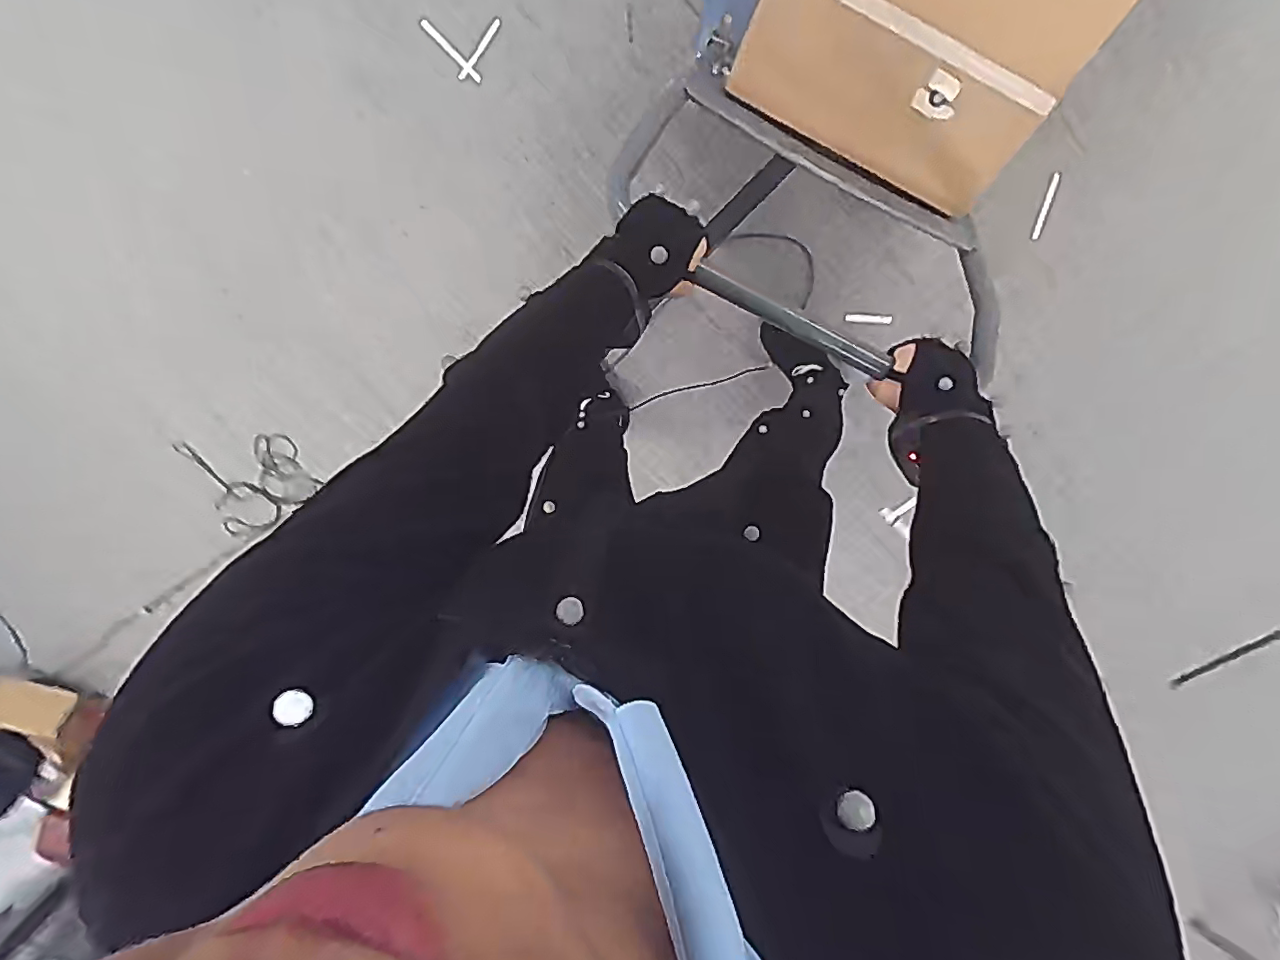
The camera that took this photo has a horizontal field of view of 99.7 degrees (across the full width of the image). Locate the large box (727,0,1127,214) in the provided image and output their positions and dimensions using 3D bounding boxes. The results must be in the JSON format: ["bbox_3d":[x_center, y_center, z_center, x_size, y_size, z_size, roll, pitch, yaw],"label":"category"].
[{"bbox_3d":[0.389,-0.679,0.810,0.408,0.320,0.320,25,136,-6],"label":"large box"}]
